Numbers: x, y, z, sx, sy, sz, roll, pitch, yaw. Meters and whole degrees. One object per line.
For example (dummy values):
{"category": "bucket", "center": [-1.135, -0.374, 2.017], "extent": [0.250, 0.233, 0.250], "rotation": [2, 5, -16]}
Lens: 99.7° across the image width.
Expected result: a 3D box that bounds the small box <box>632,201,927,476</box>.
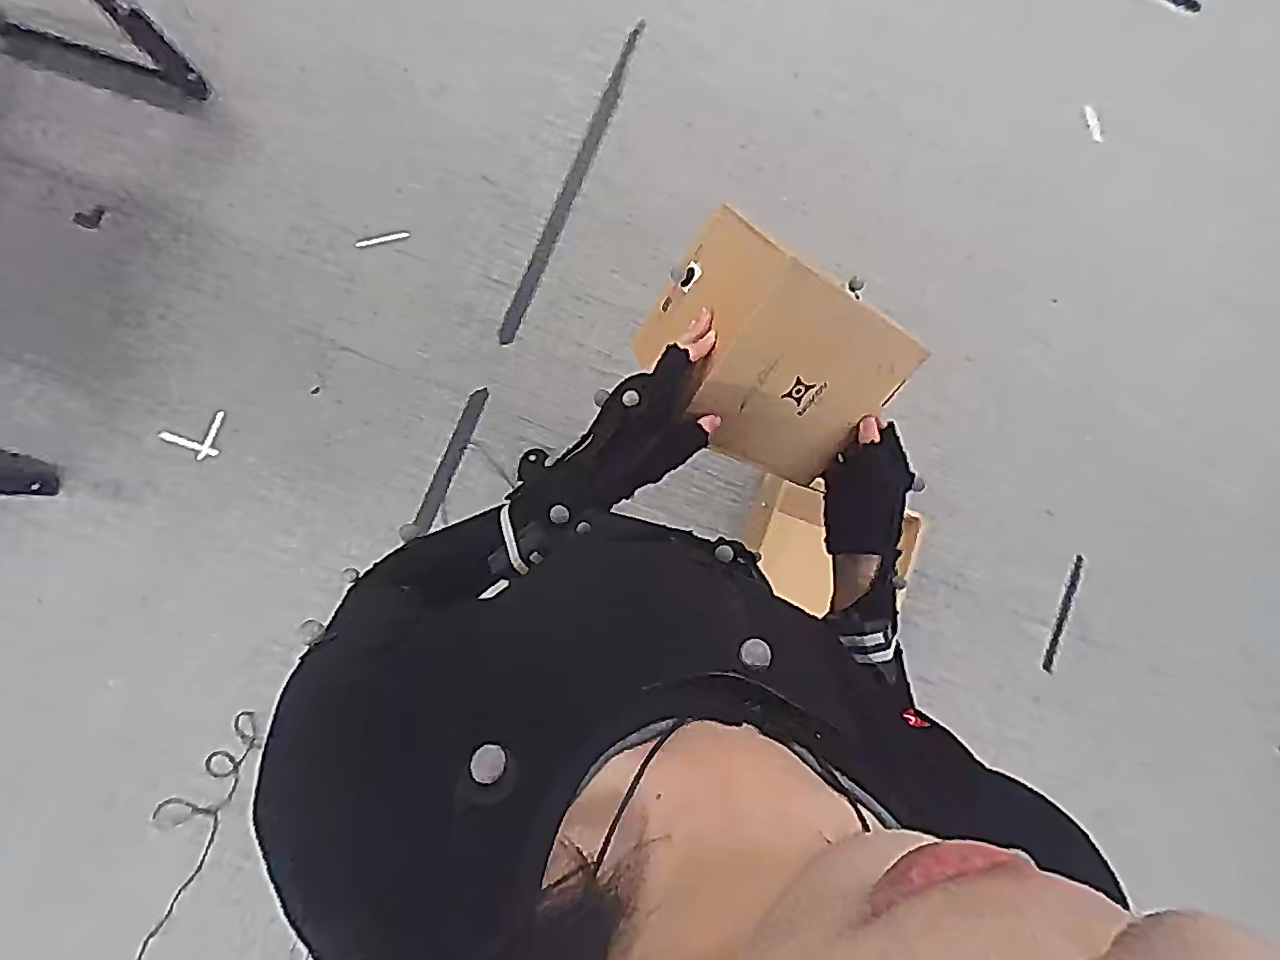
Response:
{"category": "small box", "center": [0.115, -0.135, 0.513], "extent": [0.179, 0.176, 0.168], "rotation": [18, 121, -27]}
